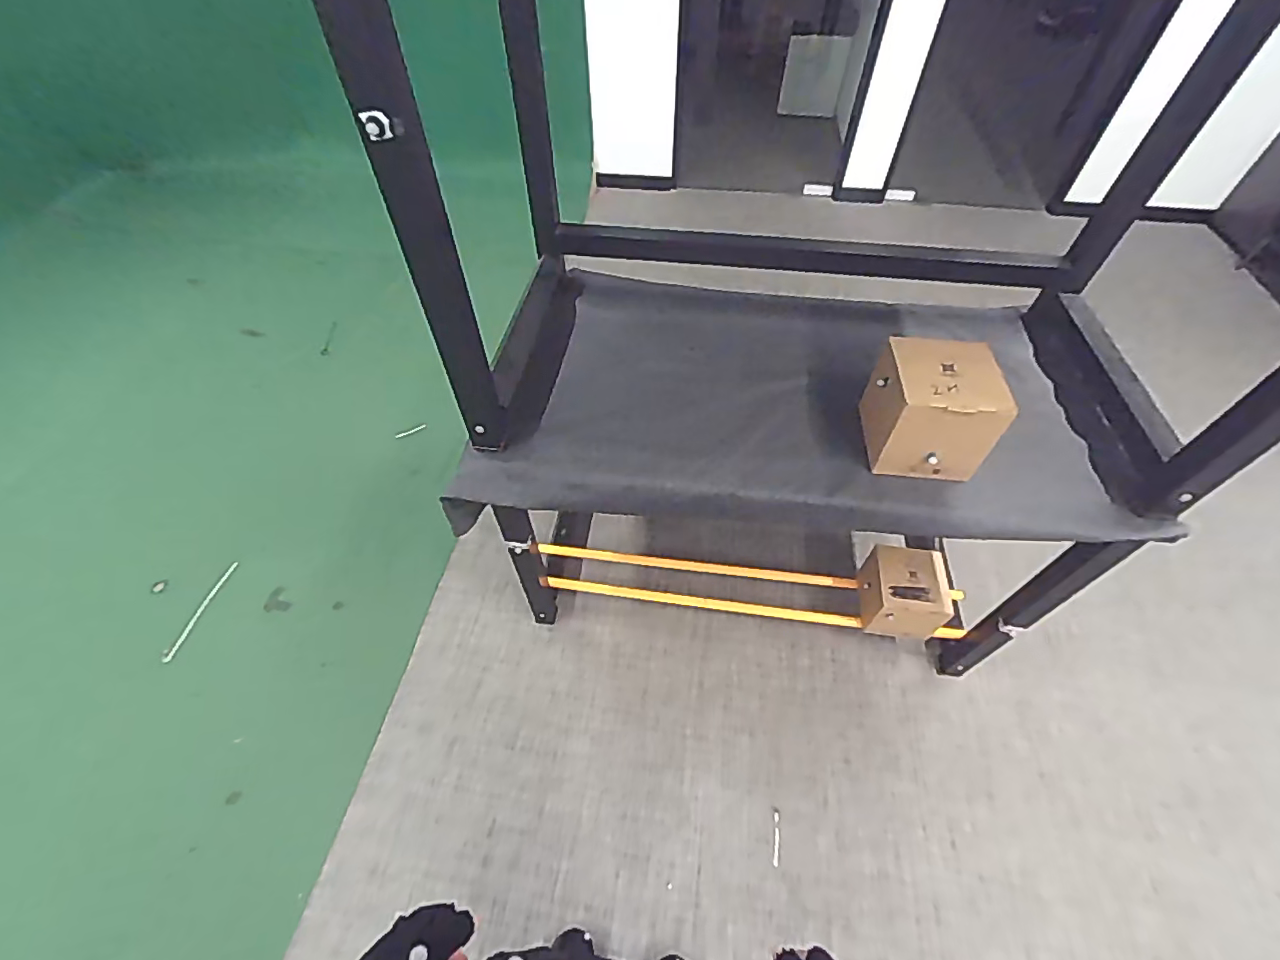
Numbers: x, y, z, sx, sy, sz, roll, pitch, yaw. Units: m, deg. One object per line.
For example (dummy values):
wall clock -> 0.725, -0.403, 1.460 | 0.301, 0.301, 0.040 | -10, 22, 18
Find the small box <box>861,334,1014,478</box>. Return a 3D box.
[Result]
small box -> 0.499, -0.129, 0.943 | 0.168, 0.176, 0.179 | 5, 51, 5
